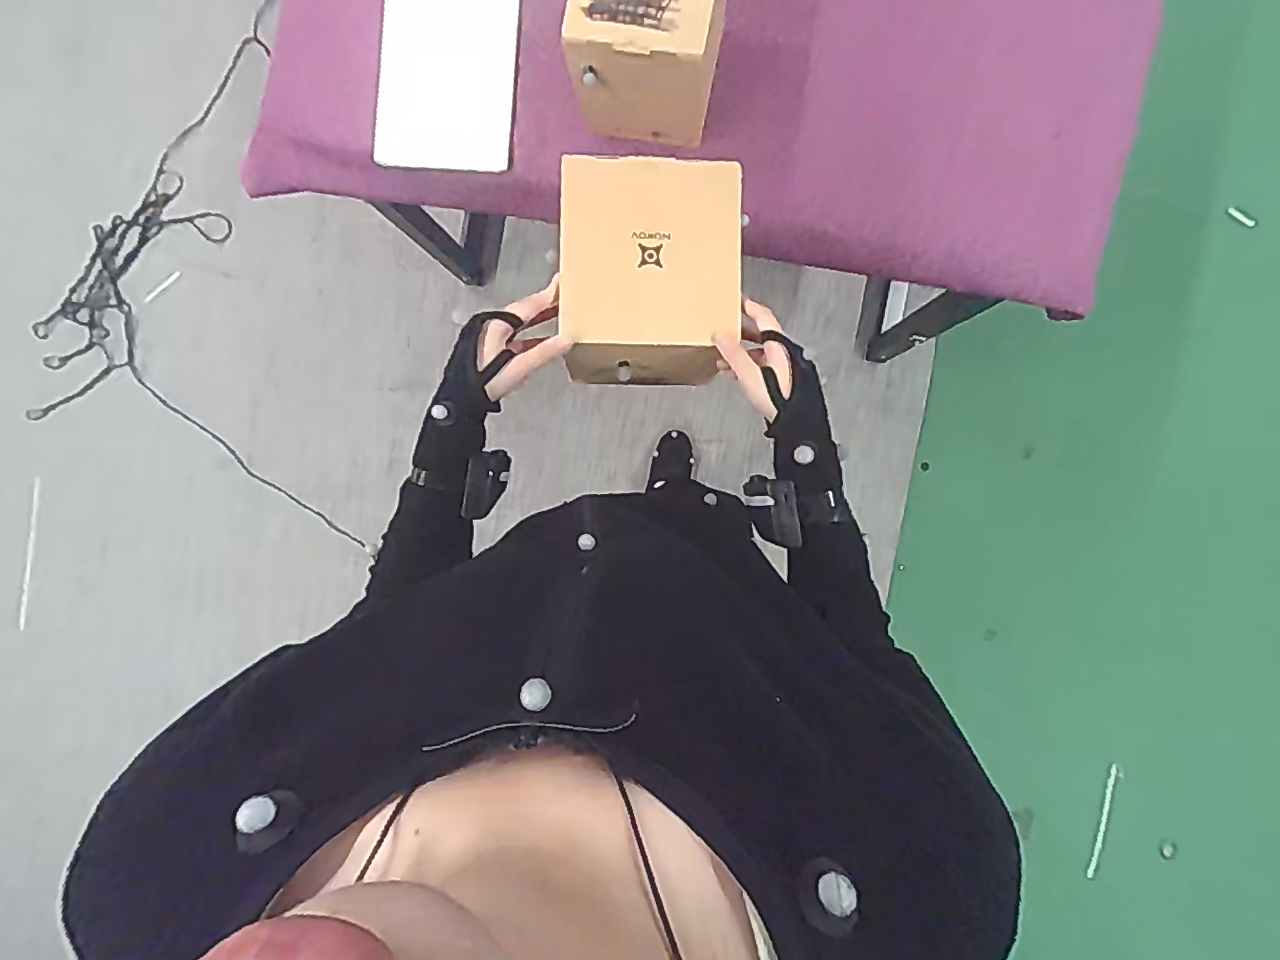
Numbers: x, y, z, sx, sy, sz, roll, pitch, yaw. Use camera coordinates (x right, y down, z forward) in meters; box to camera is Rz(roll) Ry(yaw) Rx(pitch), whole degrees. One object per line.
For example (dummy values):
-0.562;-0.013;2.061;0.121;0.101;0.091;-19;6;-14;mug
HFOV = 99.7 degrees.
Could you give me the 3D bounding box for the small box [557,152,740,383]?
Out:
0.006;-0.204;0.566;0.168;0.176;0.179;1;86;-4;small box
